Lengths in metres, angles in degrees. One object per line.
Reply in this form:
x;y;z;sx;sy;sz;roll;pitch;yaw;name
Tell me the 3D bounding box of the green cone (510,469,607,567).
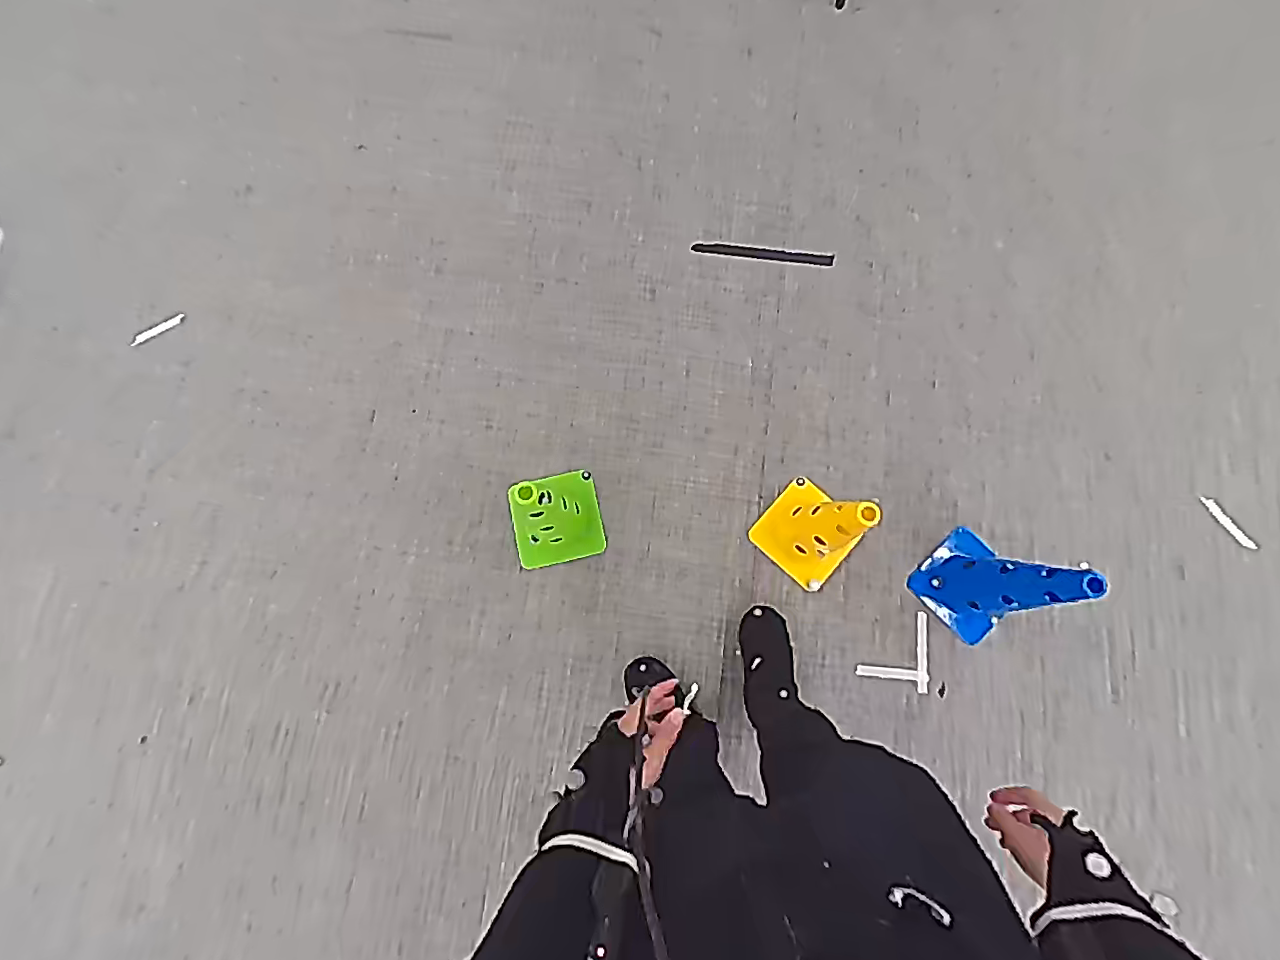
-0.192;0.056;1.078;0.200;0.368;0.202;-14;80;-2;green cone
